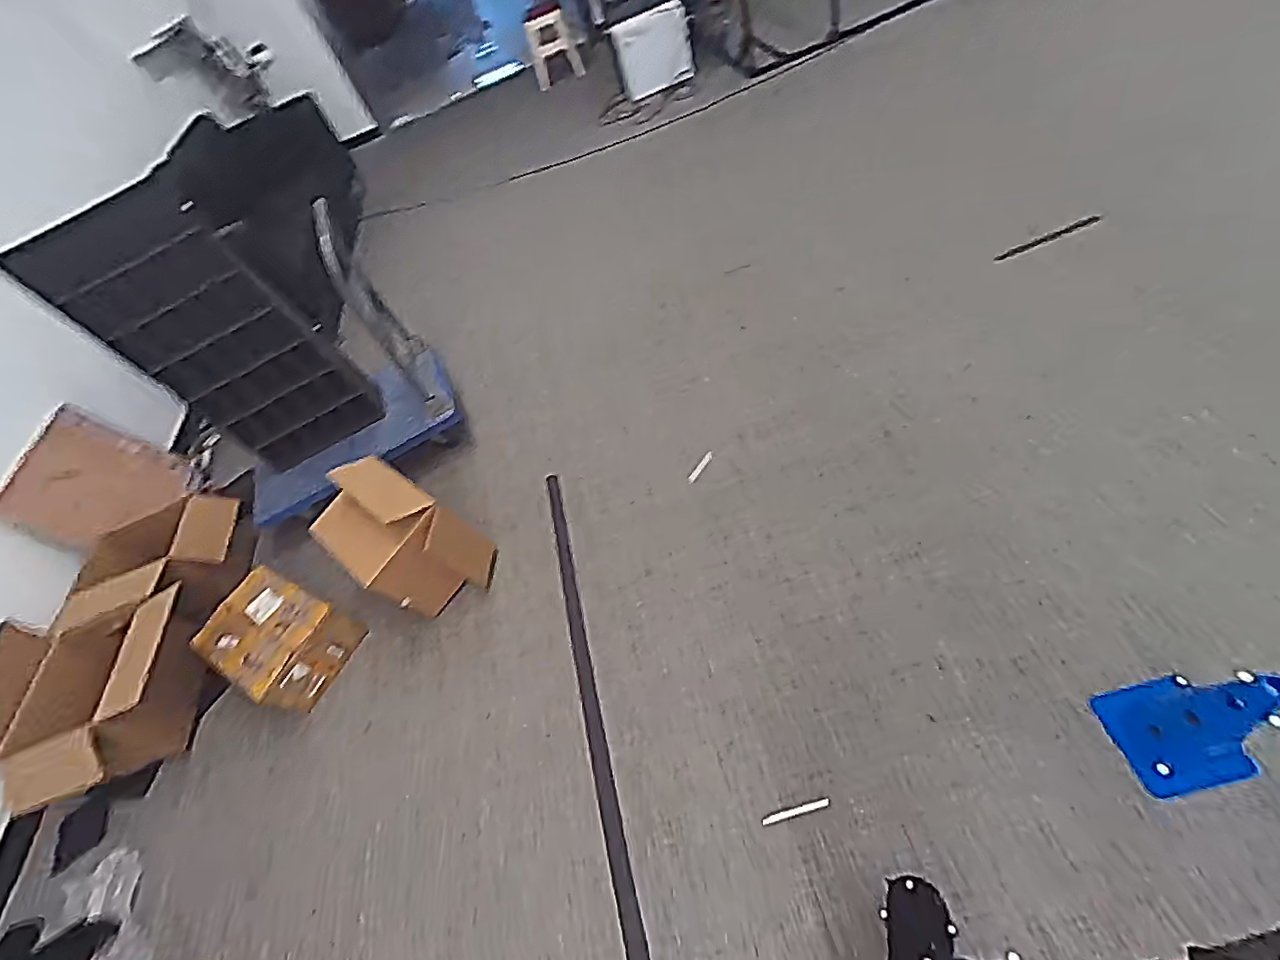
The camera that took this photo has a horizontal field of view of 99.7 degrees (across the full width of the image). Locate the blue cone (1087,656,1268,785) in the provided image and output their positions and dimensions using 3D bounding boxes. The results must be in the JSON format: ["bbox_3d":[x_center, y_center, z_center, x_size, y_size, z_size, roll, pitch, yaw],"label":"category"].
[{"bbox_3d":[1.009,0.408,0.974,0.193,0.380,0.192,-18,50,7],"label":"blue cone"}]
